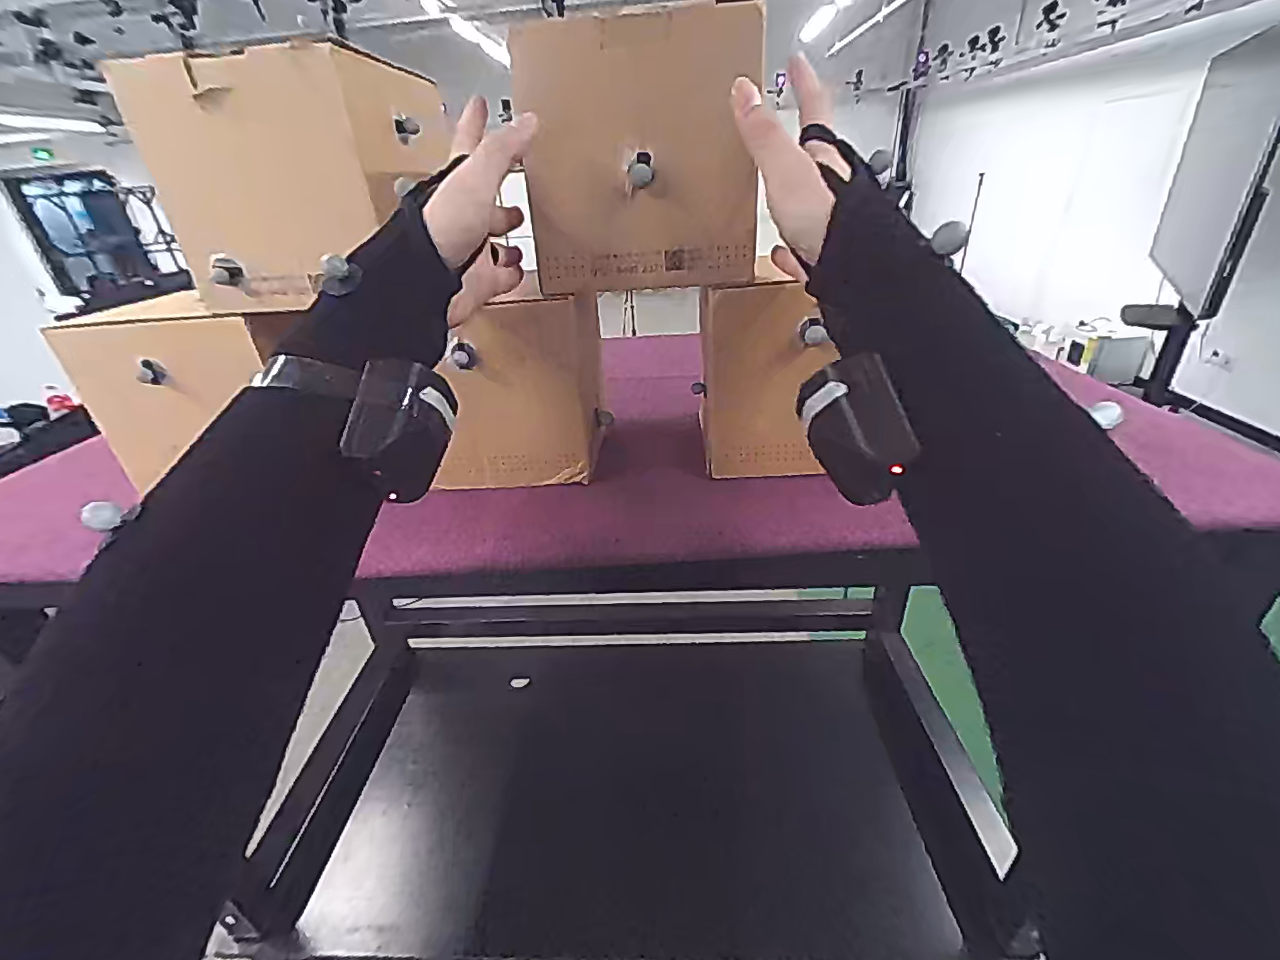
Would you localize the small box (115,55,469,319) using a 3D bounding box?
[{"bbox_3d":[-0.266,-0.240,0.470,0.168,0.176,0.179,-1,28,6],"label":"small box"}]

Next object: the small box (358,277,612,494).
[{"bbox_3d":[-0.129,-0.095,0.528,0.179,0.176,0.168,-2,29,4],"label":"small box"}]

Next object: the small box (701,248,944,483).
[{"bbox_3d":[0.149,-0.110,0.509,0.179,0.176,0.168,-4,29,6],"label":"small box"}]

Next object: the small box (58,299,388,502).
[{"bbox_3d":[-0.396,-0.088,0.555,0.179,0.176,0.168,-4,30,3],"label":"small box"}]

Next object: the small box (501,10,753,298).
[{"bbox_3d":[0.002,-0.250,0.448,0.168,0.176,0.179,-3,29,4],"label":"small box"}]
